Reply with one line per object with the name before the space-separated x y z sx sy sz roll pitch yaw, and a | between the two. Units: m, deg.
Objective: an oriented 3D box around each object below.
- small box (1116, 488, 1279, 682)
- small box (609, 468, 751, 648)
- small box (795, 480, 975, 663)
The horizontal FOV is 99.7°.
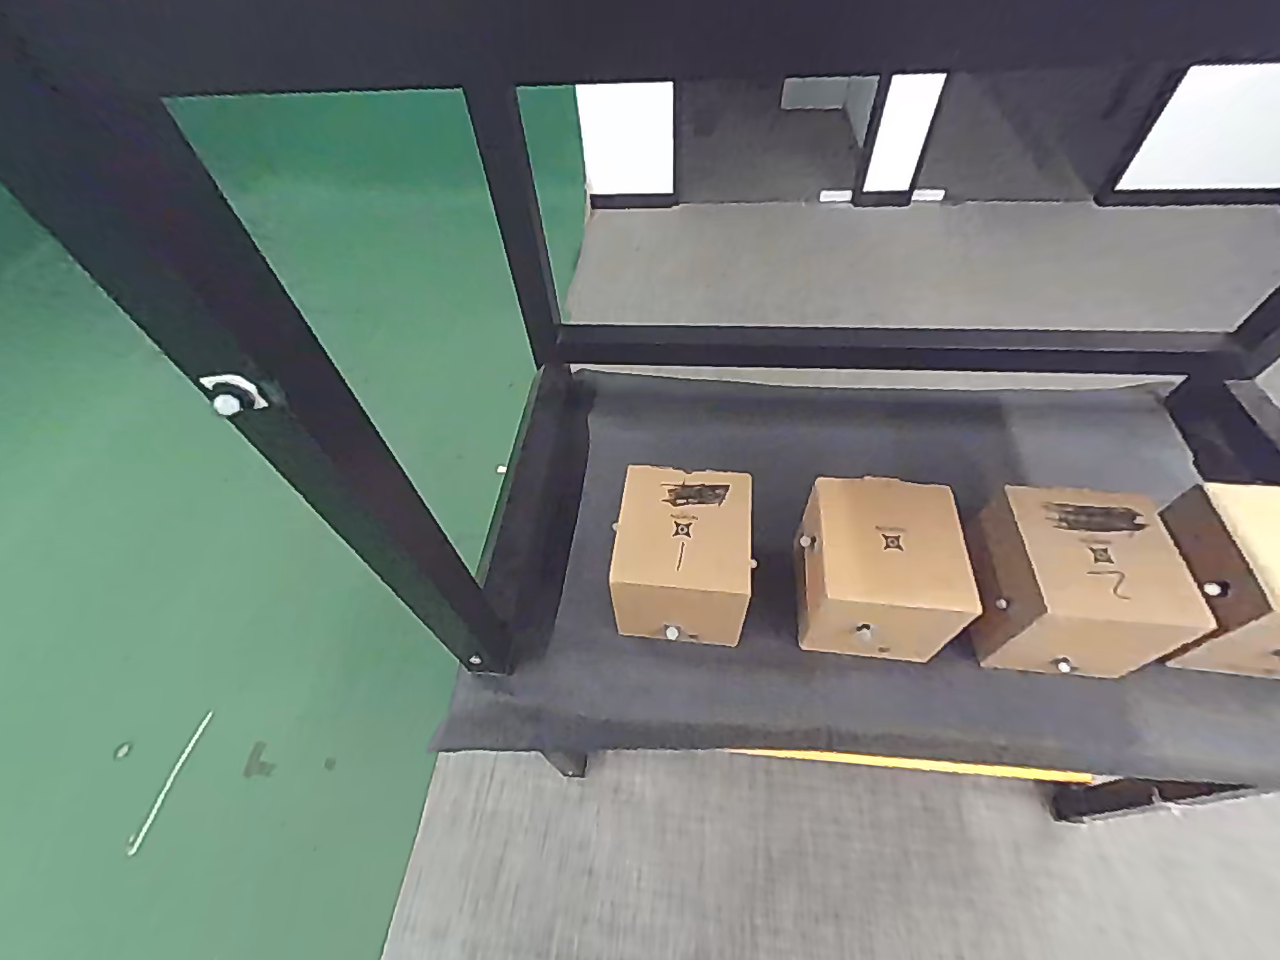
small box | 0.752 0.134 0.666 0.168 0.176 0.179 5 52 8
small box | 0.058 0.107 0.735 0.168 0.176 0.179 4 53 7
small box | 0.301 0.123 0.708 0.168 0.176 0.179 5 52 7
